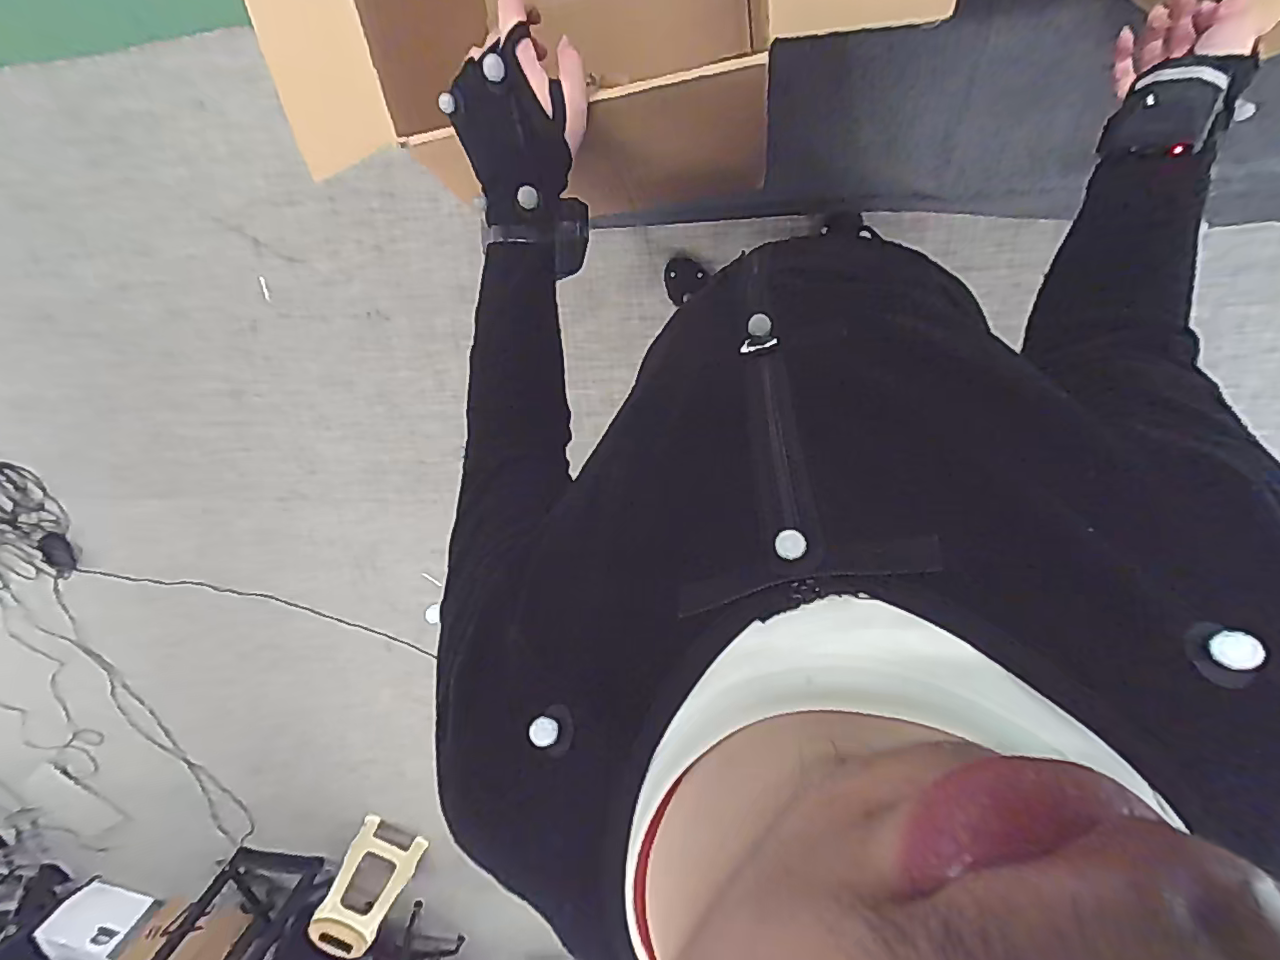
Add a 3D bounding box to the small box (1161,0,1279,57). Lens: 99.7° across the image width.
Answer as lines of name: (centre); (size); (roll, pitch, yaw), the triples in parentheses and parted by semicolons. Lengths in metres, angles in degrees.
small box: (0.577, -0.503, 0.451); (0.168, 0.176, 0.179); (32, 119, -5)
